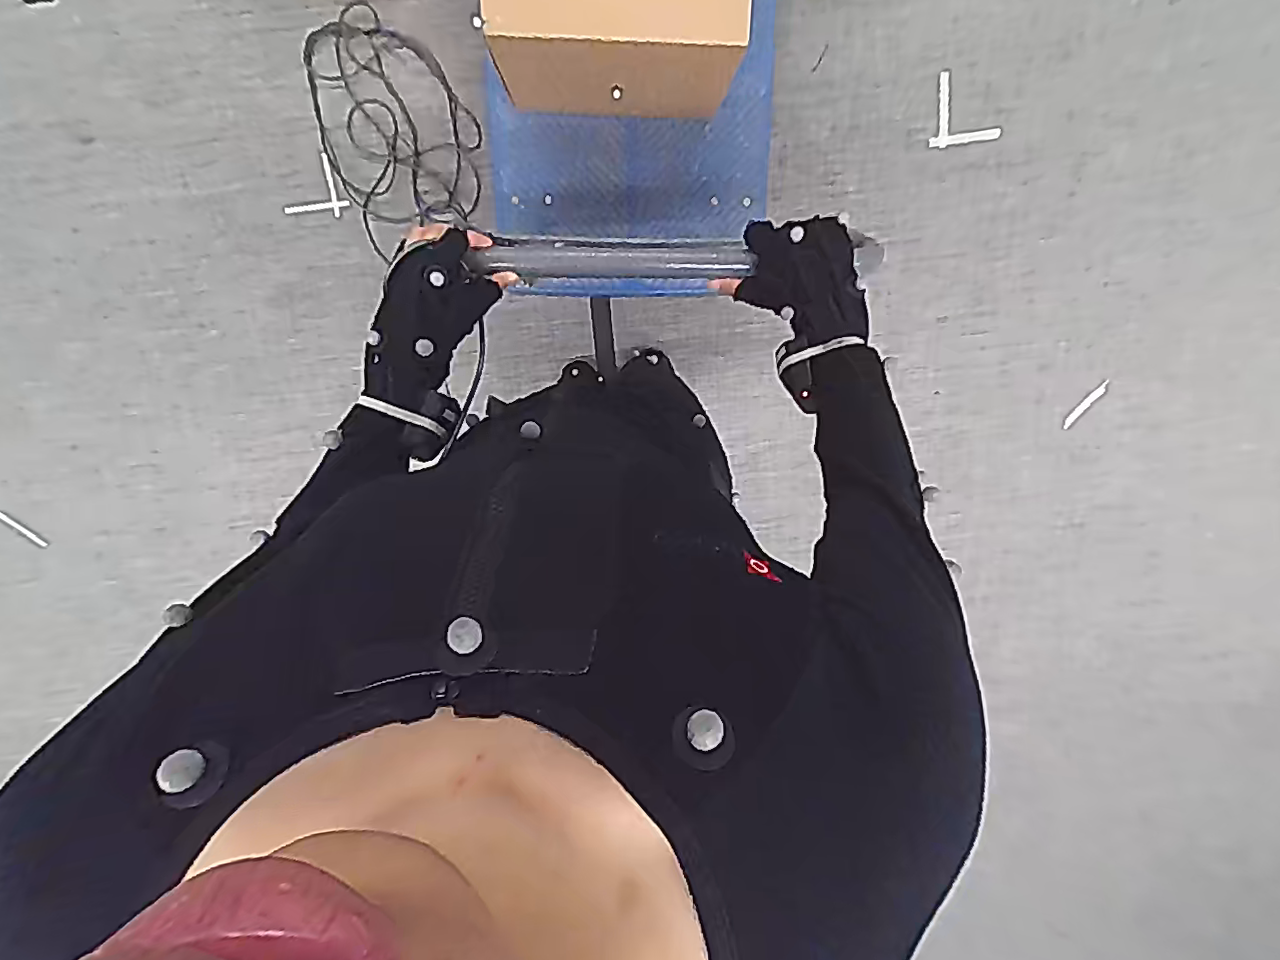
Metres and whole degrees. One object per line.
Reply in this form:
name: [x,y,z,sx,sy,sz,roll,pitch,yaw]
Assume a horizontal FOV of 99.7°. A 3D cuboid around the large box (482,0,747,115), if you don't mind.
large box: [-0.041,-0.851,0.922,0.408,0.320,0.320,0,106,-2]
